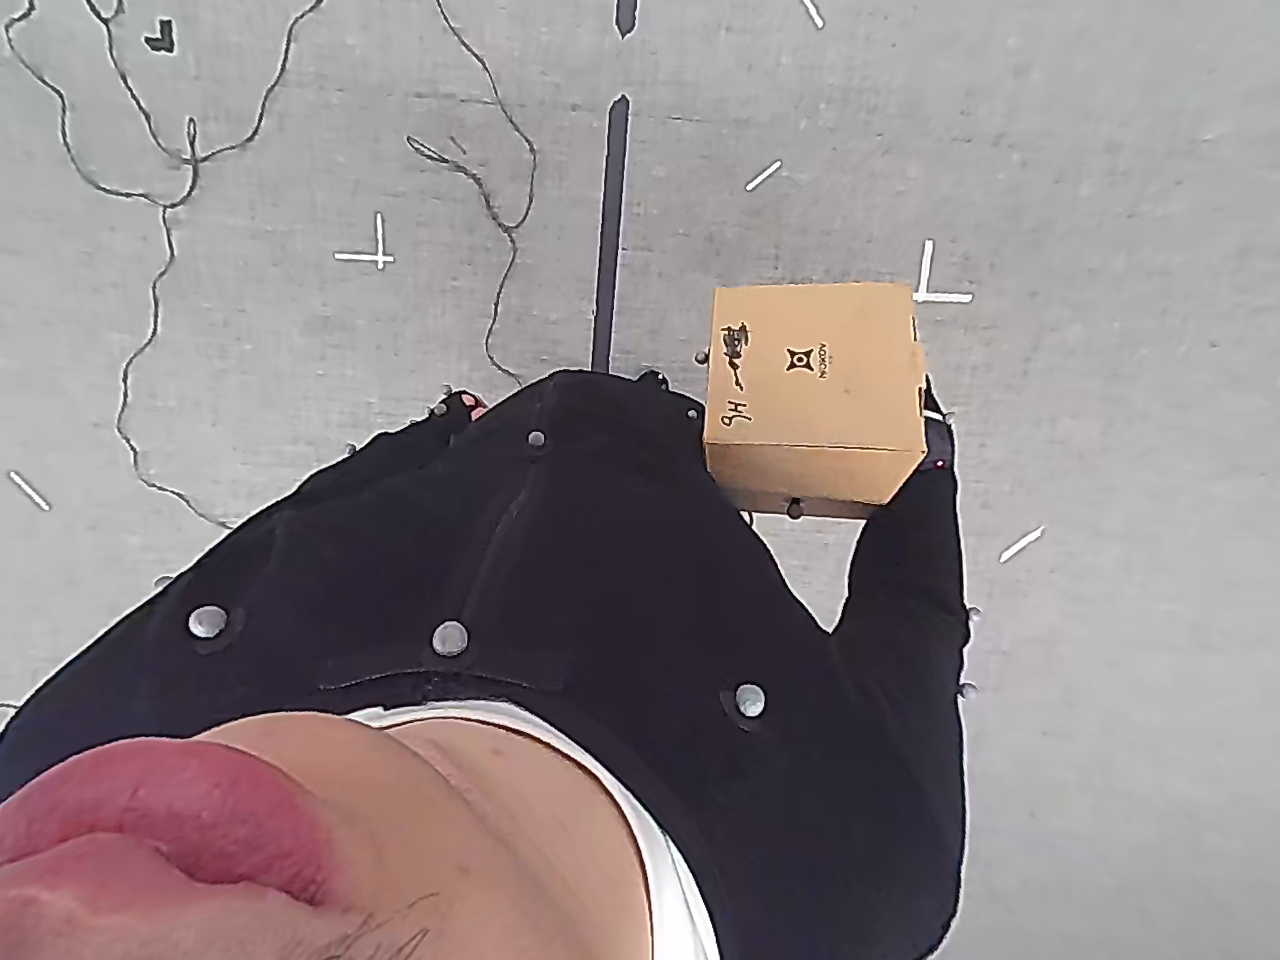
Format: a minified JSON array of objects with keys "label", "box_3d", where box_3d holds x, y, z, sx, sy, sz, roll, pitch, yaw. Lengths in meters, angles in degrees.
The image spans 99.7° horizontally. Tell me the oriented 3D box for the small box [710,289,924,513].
[{"label":"small box","box_3d":[0.165,-0.072,0.553,0.179,0.176,0.168,3,67,10]}]
